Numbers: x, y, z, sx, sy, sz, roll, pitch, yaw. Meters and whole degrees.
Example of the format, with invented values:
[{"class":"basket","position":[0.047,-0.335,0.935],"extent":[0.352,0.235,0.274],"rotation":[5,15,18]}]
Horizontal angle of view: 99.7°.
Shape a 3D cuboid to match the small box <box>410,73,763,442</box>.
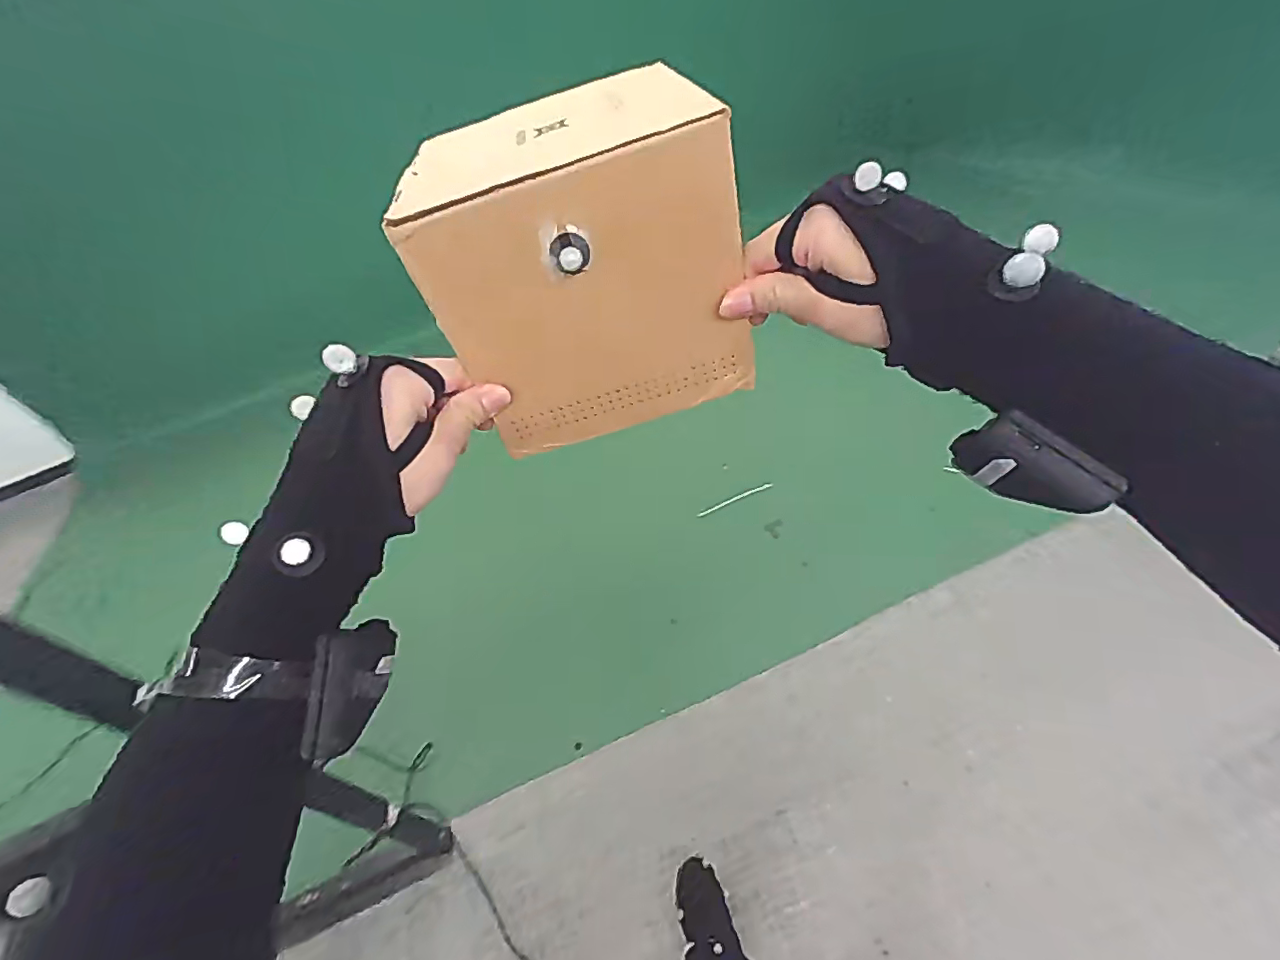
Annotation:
[{"class":"small box","position":[-0.025,-0.150,0.378],"extent":[0.179,0.176,0.168],"rotation":[-15,44,3]}]
